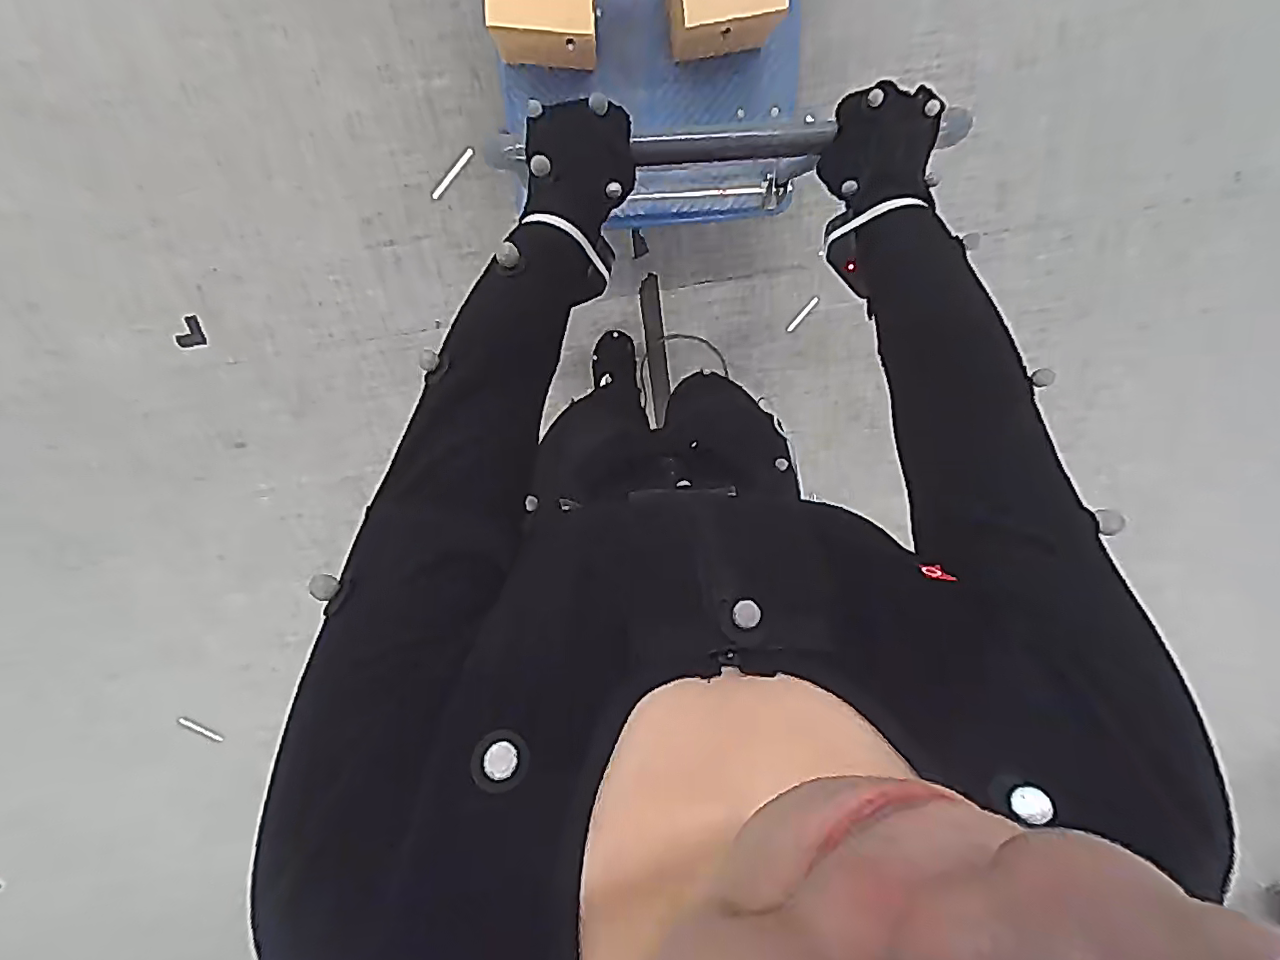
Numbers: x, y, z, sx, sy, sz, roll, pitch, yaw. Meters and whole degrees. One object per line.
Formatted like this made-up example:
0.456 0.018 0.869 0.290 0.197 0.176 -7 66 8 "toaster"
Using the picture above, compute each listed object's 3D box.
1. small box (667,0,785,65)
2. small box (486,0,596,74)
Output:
0.139 -0.855 0.940 0.179 0.176 0.168 -10 112 0 "small box"
-0.164 -0.826 0.928 0.179 0.176 0.168 0 111 -6 "small box"
